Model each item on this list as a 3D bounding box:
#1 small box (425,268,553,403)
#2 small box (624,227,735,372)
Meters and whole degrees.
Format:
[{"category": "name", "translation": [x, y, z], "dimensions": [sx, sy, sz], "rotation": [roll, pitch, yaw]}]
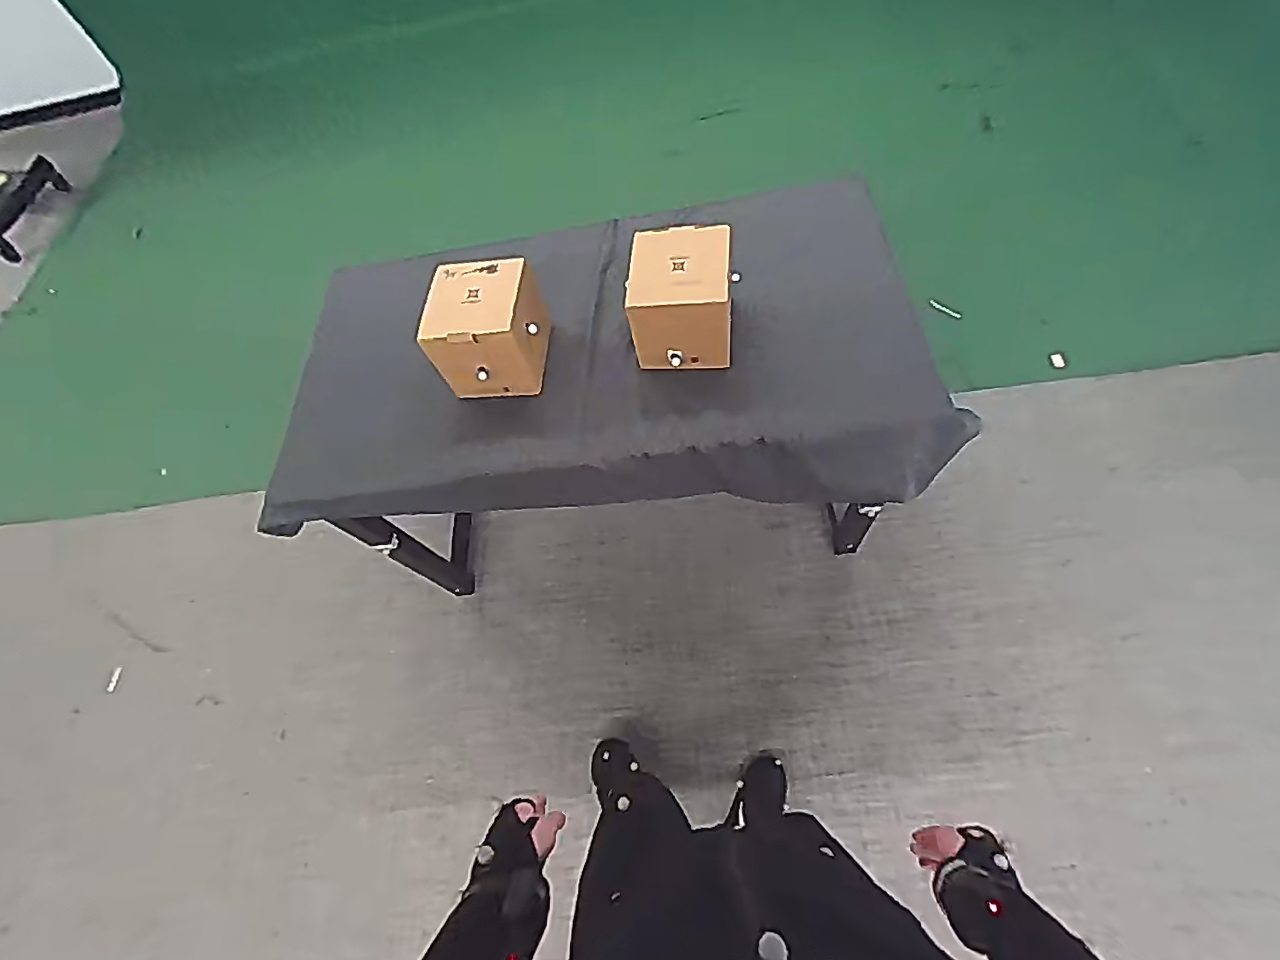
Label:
[{"category": "small box", "translation": [-0.268, -0.256, 1.003], "dimensions": [0.168, 0.176, 0.179], "rotation": [-5, 61, 9]}, {"category": "small box", "translation": [0.078, -0.310, 0.949], "dimensions": [0.168, 0.176, 0.179], "rotation": [1, 63, 13]}]
